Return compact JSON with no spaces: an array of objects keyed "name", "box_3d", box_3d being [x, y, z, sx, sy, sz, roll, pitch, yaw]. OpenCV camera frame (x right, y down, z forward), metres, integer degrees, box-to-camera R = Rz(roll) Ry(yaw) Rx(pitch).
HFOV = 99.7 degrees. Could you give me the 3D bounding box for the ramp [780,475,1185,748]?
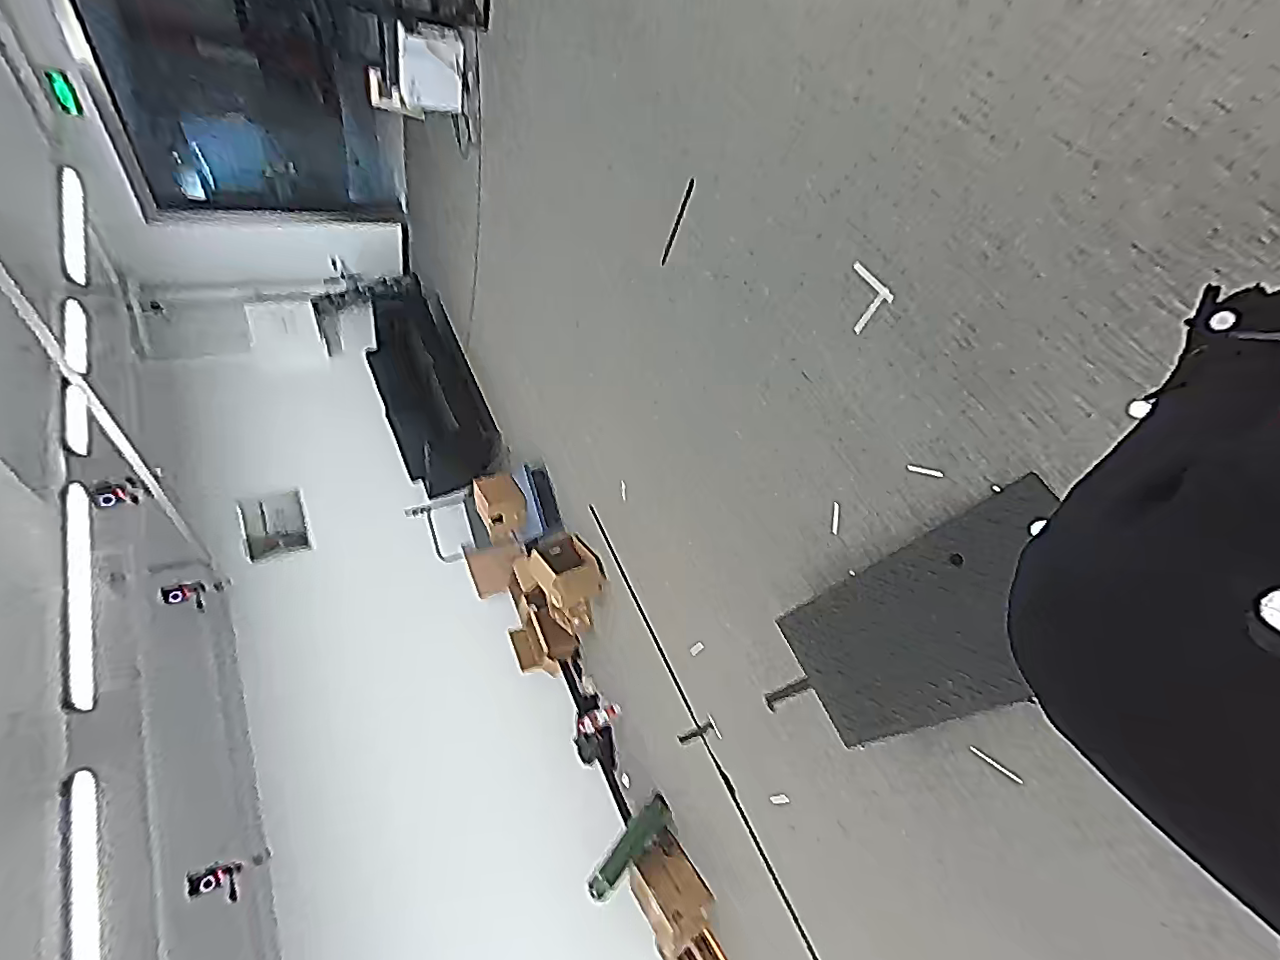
[{"name":"ramp","box_3d":[0.861,0.448,1.608,0.509,0.206,0.991,63,149,24]}]
